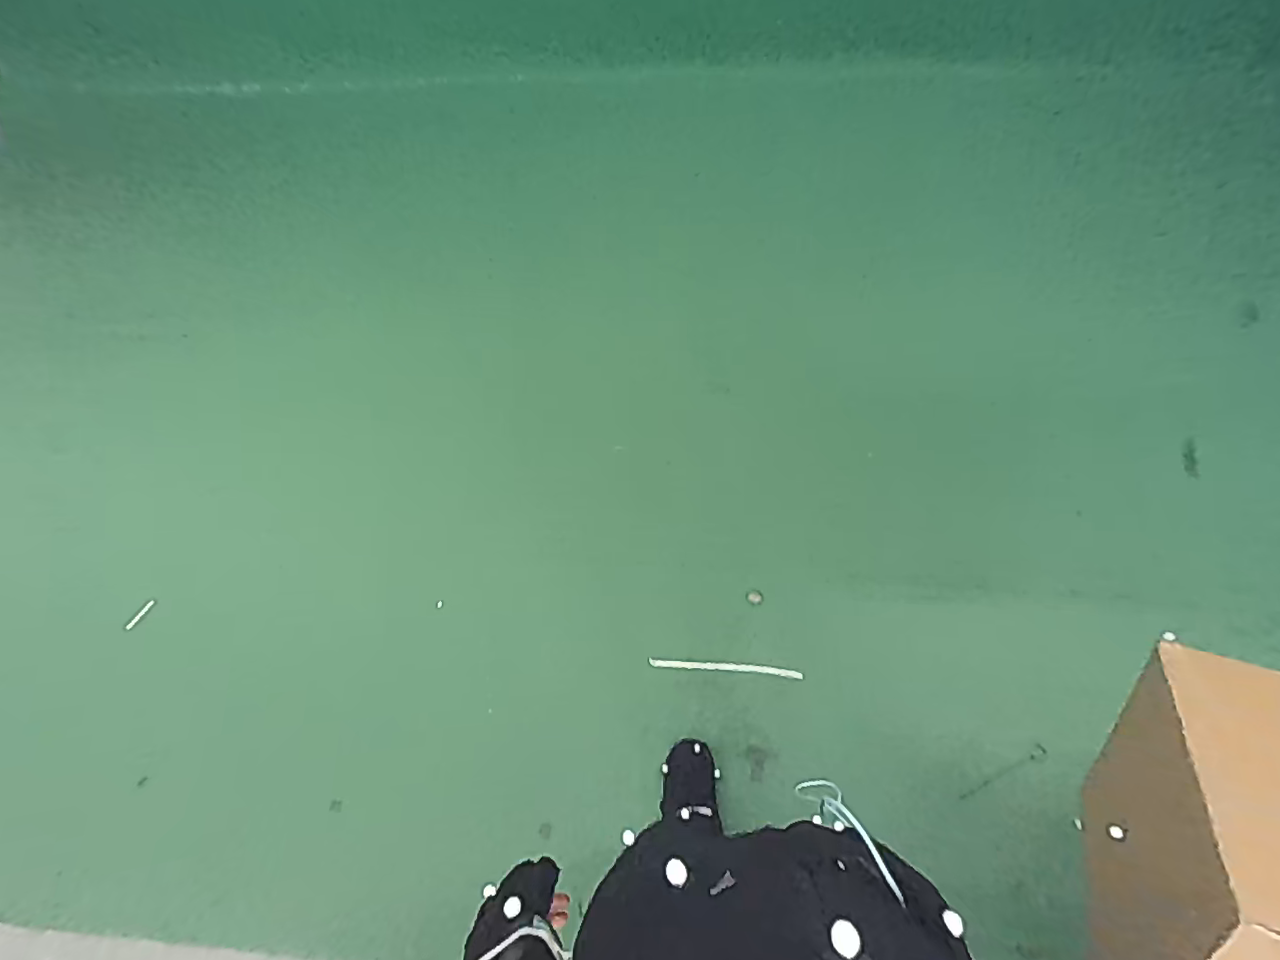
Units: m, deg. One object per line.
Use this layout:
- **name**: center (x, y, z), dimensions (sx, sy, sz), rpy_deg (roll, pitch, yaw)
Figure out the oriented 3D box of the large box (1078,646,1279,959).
- **large box**: center (0.727, 0.468, 0.588), dimensions (0.320, 0.320, 0.408), rpy_deg (16, 29, 29)
